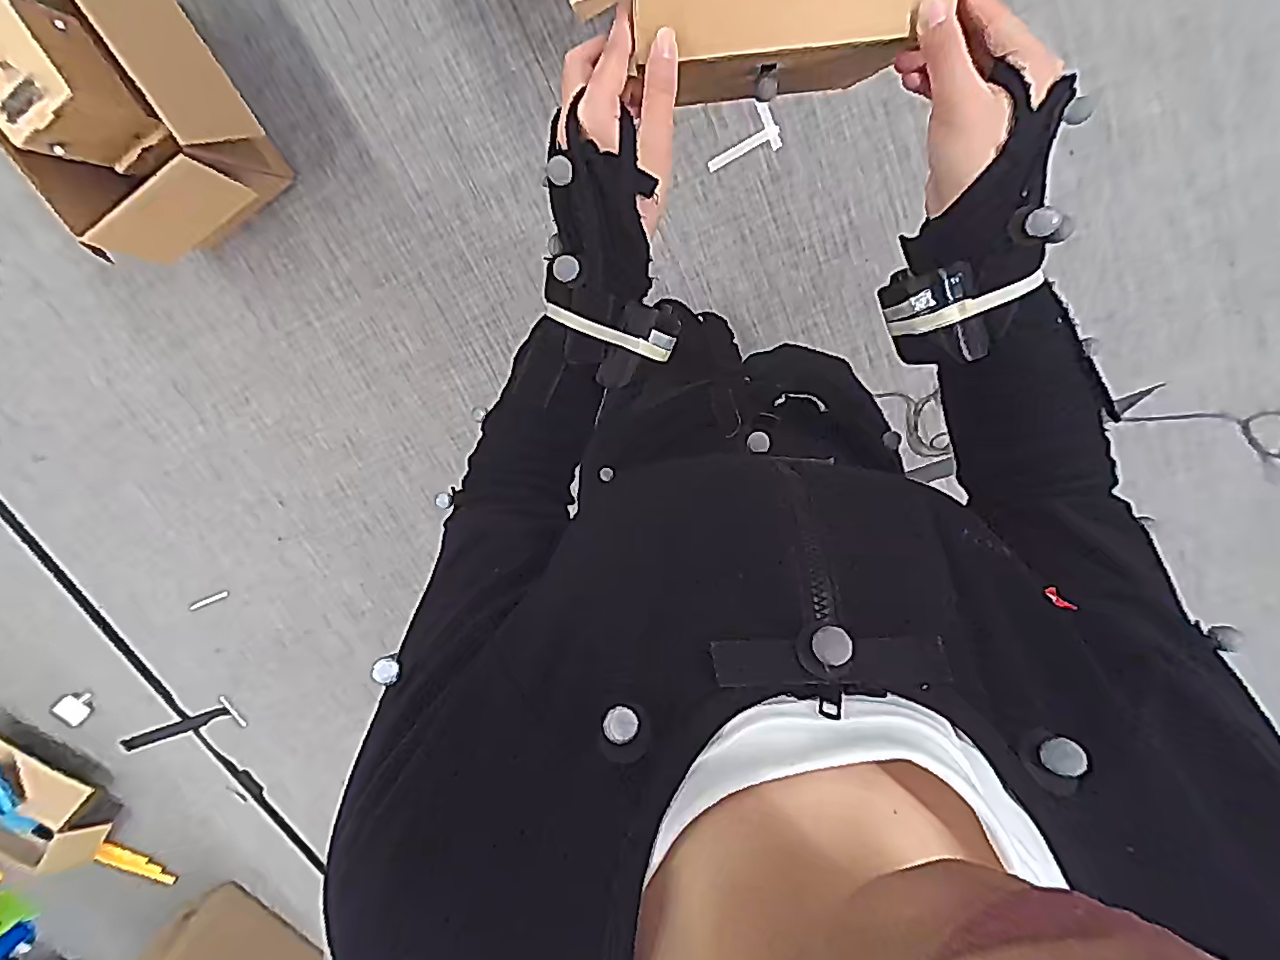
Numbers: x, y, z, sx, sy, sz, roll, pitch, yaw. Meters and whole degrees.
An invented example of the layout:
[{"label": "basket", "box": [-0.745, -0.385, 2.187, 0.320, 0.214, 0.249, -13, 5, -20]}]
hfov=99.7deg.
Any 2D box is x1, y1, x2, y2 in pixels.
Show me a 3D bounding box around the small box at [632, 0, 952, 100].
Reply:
[{"label": "small box", "box": [0.080, -0.354, 0.337, 0.179, 0.176, 0.168, -4, 117, 4]}]
